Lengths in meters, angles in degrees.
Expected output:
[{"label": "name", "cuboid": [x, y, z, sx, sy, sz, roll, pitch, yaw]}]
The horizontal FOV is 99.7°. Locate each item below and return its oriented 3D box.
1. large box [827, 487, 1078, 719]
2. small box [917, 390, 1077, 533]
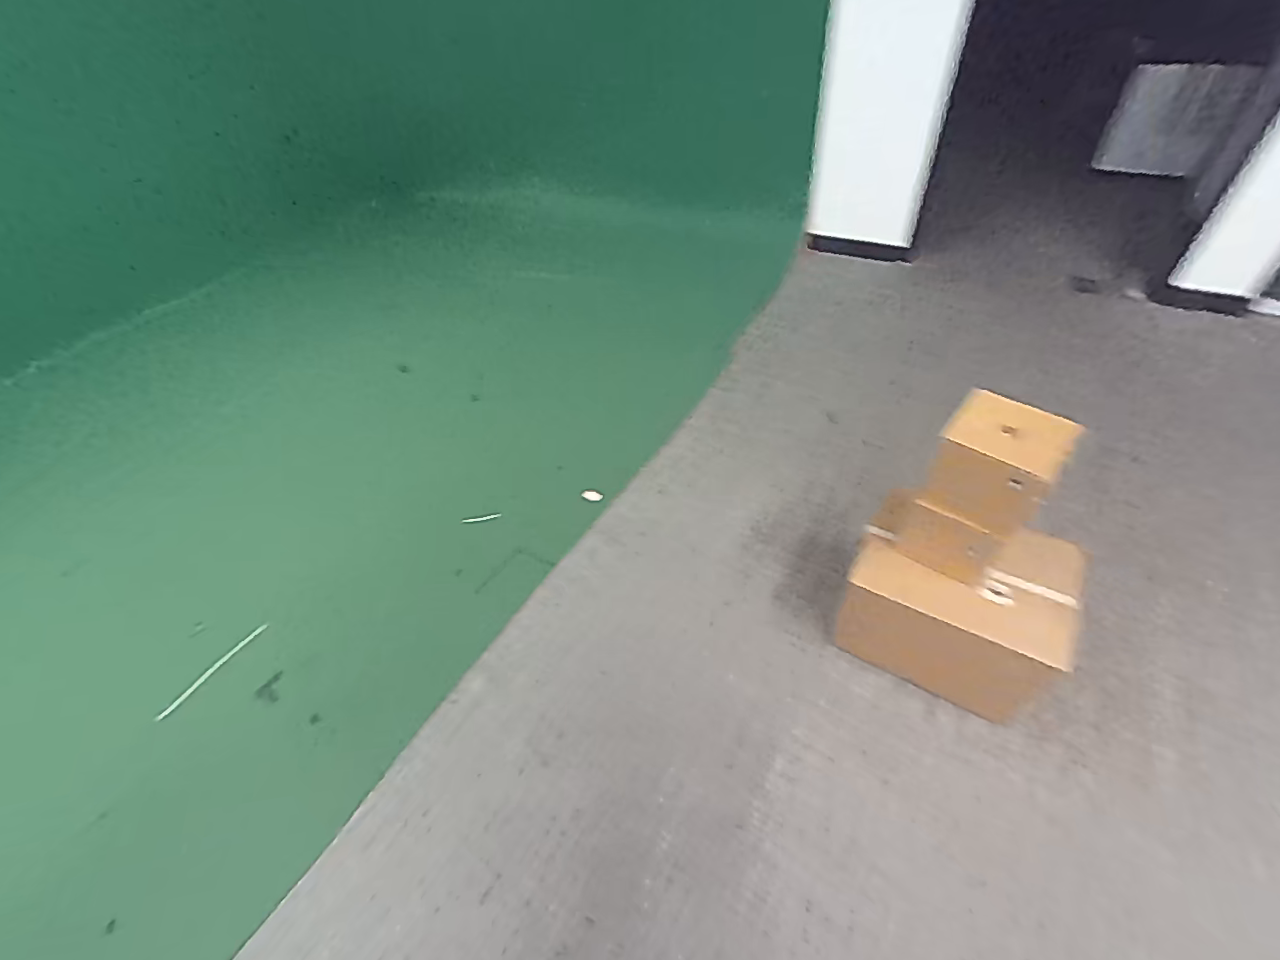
[{"label": "large box", "cuboid": [0.703, 0.280, 1.264, 0.408, 0.320, 0.320, 22, 56, 24]}, {"label": "small box", "cuboid": [0.648, -0.032, 1.002, 0.179, 0.176, 0.168, 32, 59, 29]}]
